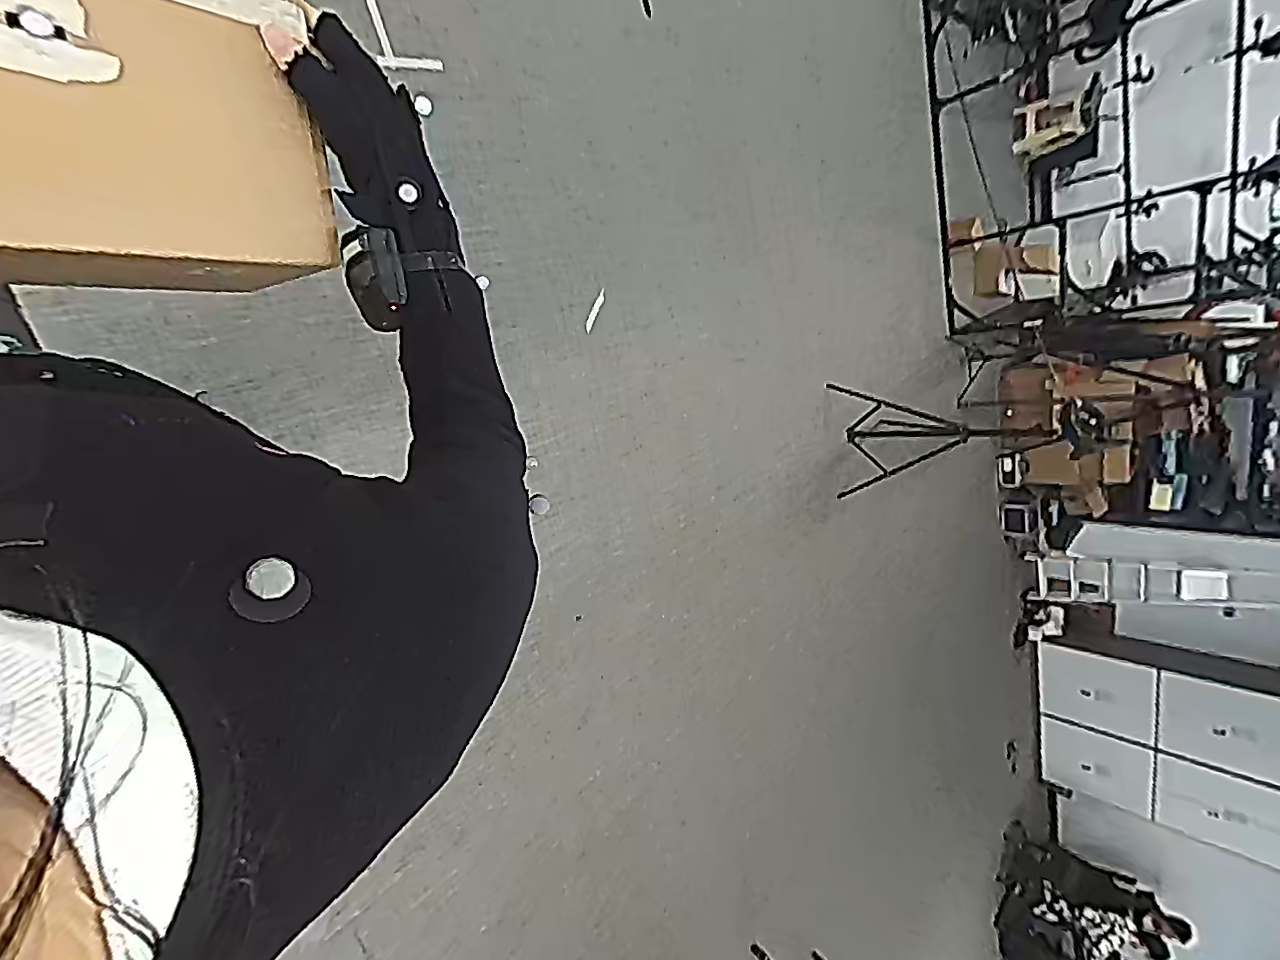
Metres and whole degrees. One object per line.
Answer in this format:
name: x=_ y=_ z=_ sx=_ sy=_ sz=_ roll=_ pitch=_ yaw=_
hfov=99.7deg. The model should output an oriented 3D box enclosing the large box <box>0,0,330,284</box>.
large box: x=-0.494 y=-0.303 z=0.352 sx=0.408 sy=0.320 sz=0.320 roll=-17 pitch=113 yaw=-43
